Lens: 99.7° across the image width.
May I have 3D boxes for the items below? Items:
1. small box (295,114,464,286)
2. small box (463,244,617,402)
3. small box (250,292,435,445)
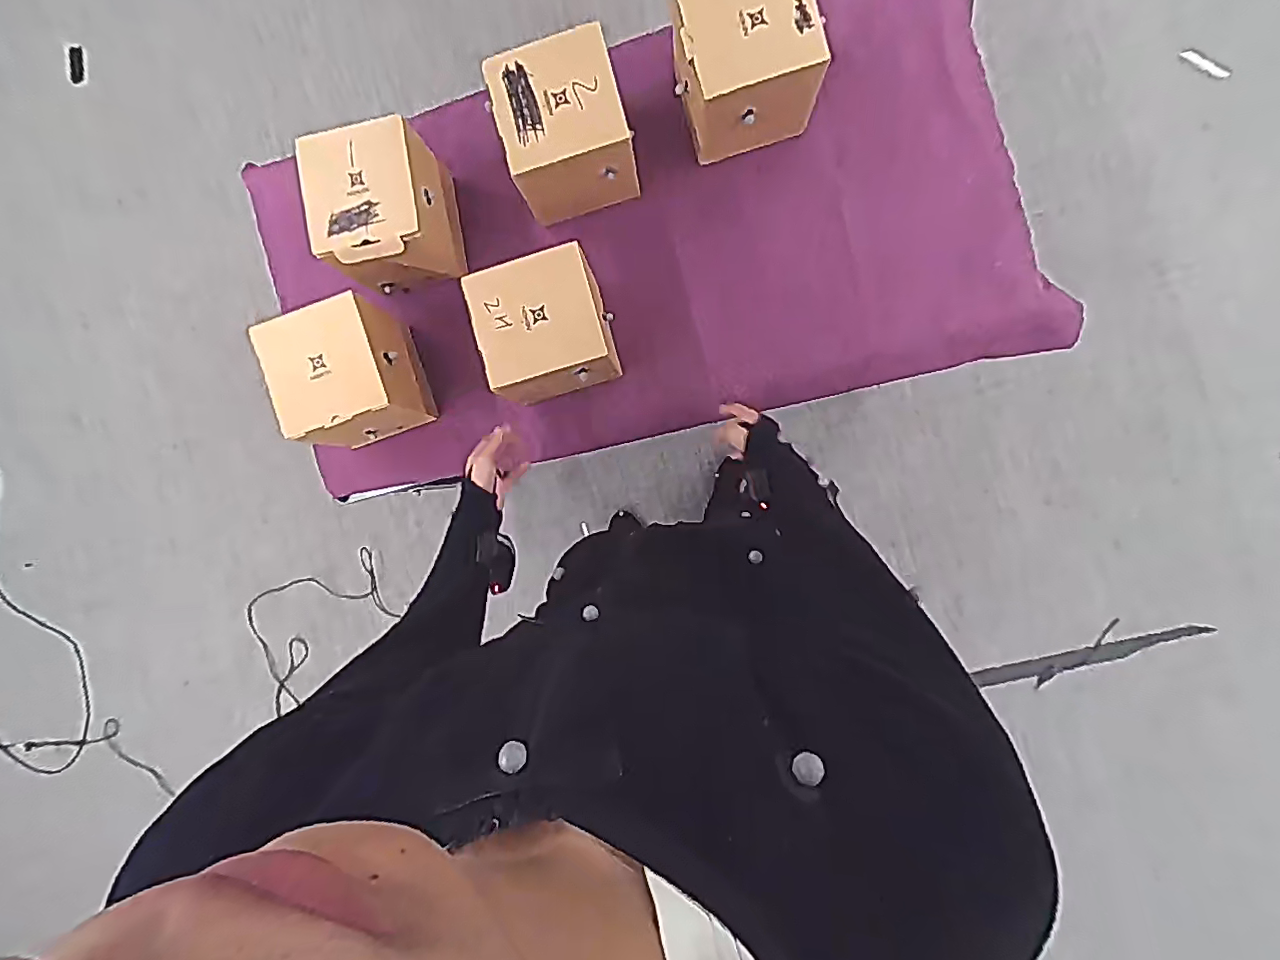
[{"bbox_3d":[-0.392,-0.418,0.843,0.168,0.176,0.179,-9,90,4],"label":"small box"},{"bbox_3d":[-0.138,-0.226,0.824,0.179,0.176,0.168,-15,90,5],"label":"small box"},{"bbox_3d":[-0.453,-0.163,0.851,0.168,0.176,0.179,-19,90,3],"label":"small box"}]
